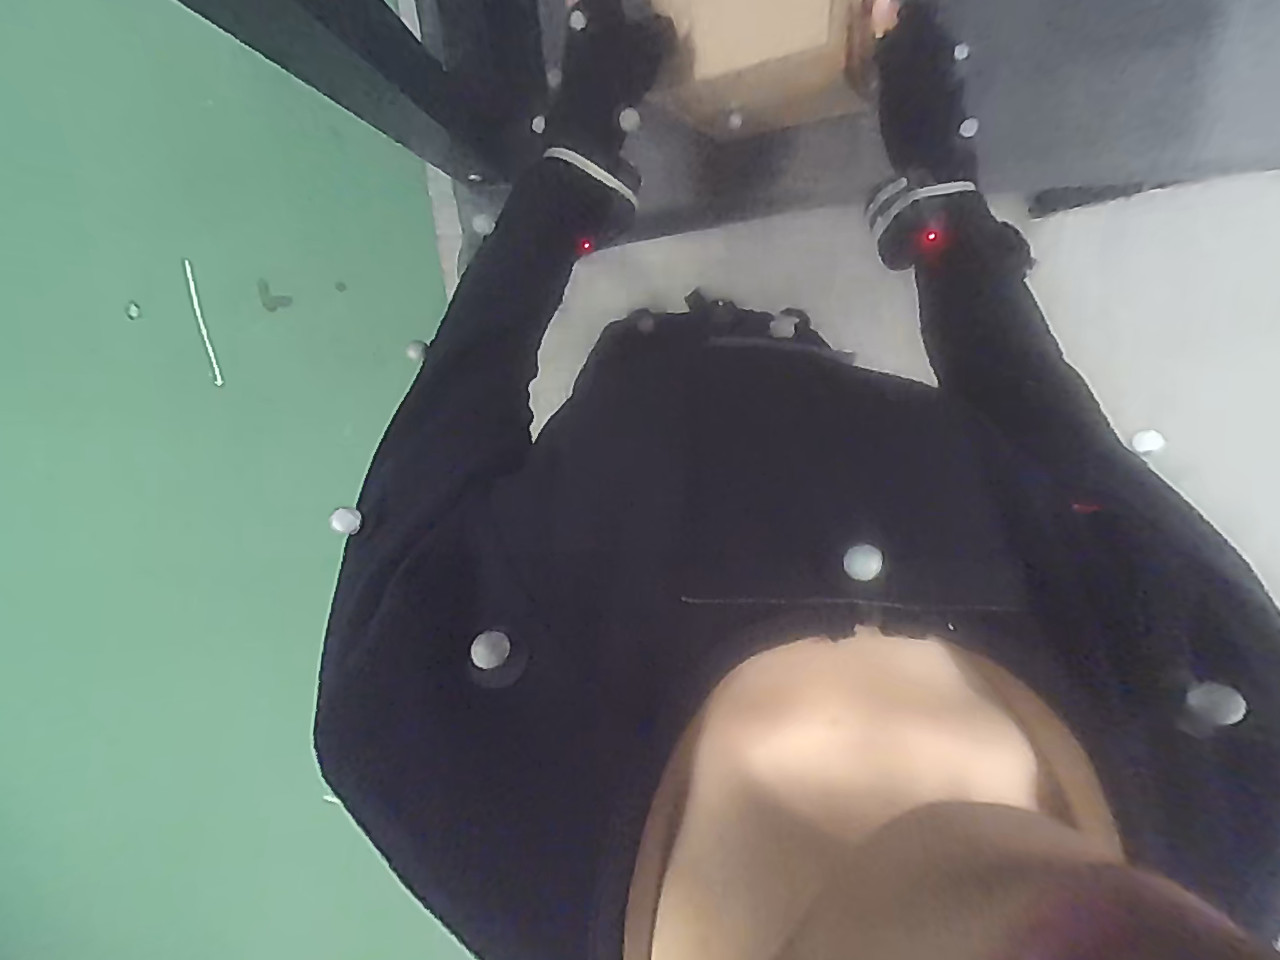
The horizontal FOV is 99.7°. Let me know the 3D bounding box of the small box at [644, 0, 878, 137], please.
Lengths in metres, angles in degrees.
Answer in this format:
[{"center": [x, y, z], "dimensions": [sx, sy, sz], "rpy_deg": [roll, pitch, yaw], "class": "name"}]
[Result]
[{"center": [0.113, -0.444, 0.490], "dimensions": [0.176, 0.168, 0.179], "rpy_deg": [9, 109, 31], "class": "small box"}]
